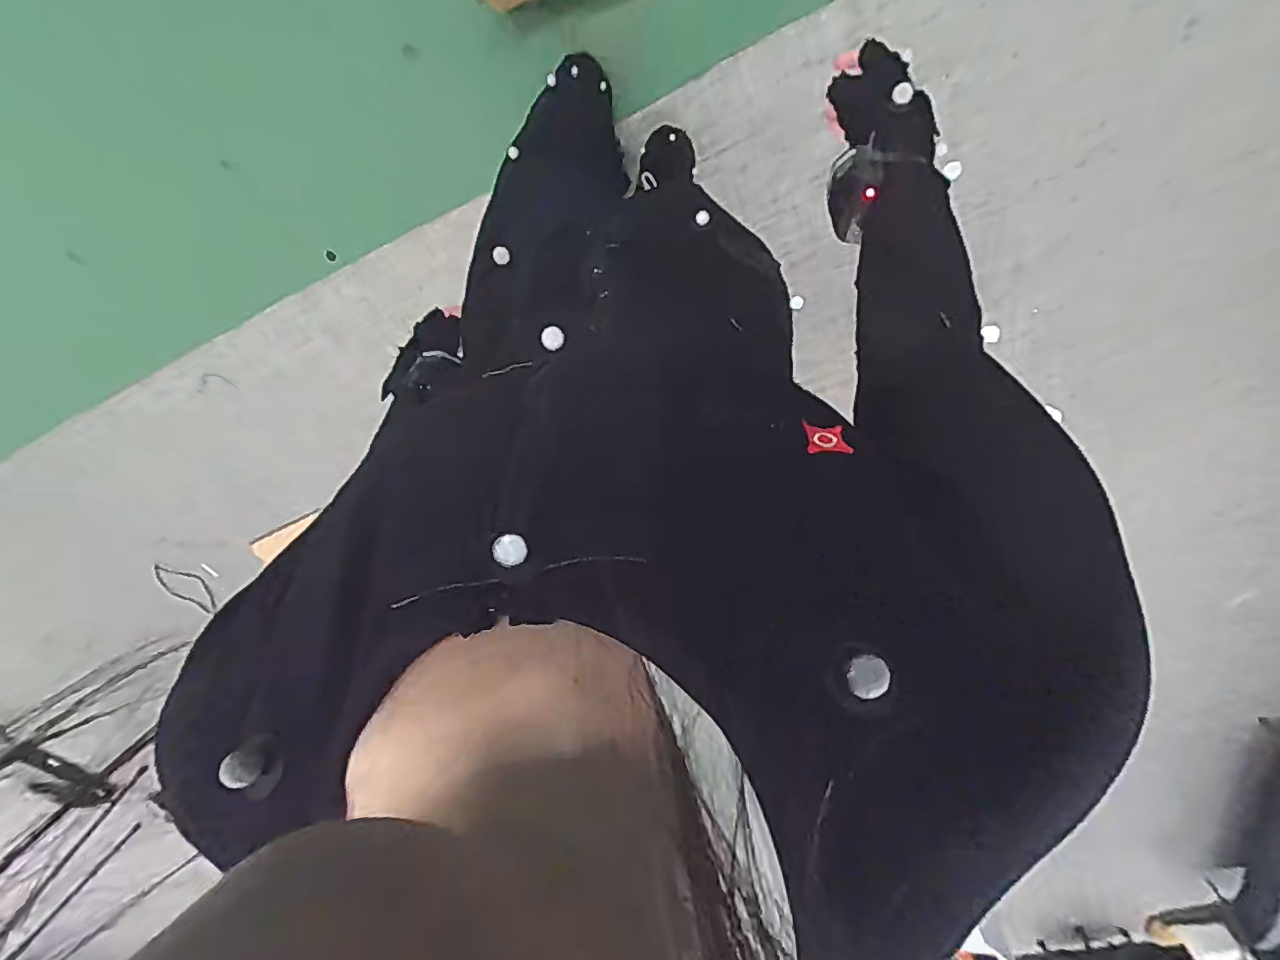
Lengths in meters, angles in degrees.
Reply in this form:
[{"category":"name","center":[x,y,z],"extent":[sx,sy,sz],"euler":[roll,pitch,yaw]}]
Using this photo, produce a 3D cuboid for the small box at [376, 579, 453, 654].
[{"category":"small box","center":[-0.792,0.483,1.925],"extent":[0.179,0.176,0.168],"euler":[-27,122,18]}]
